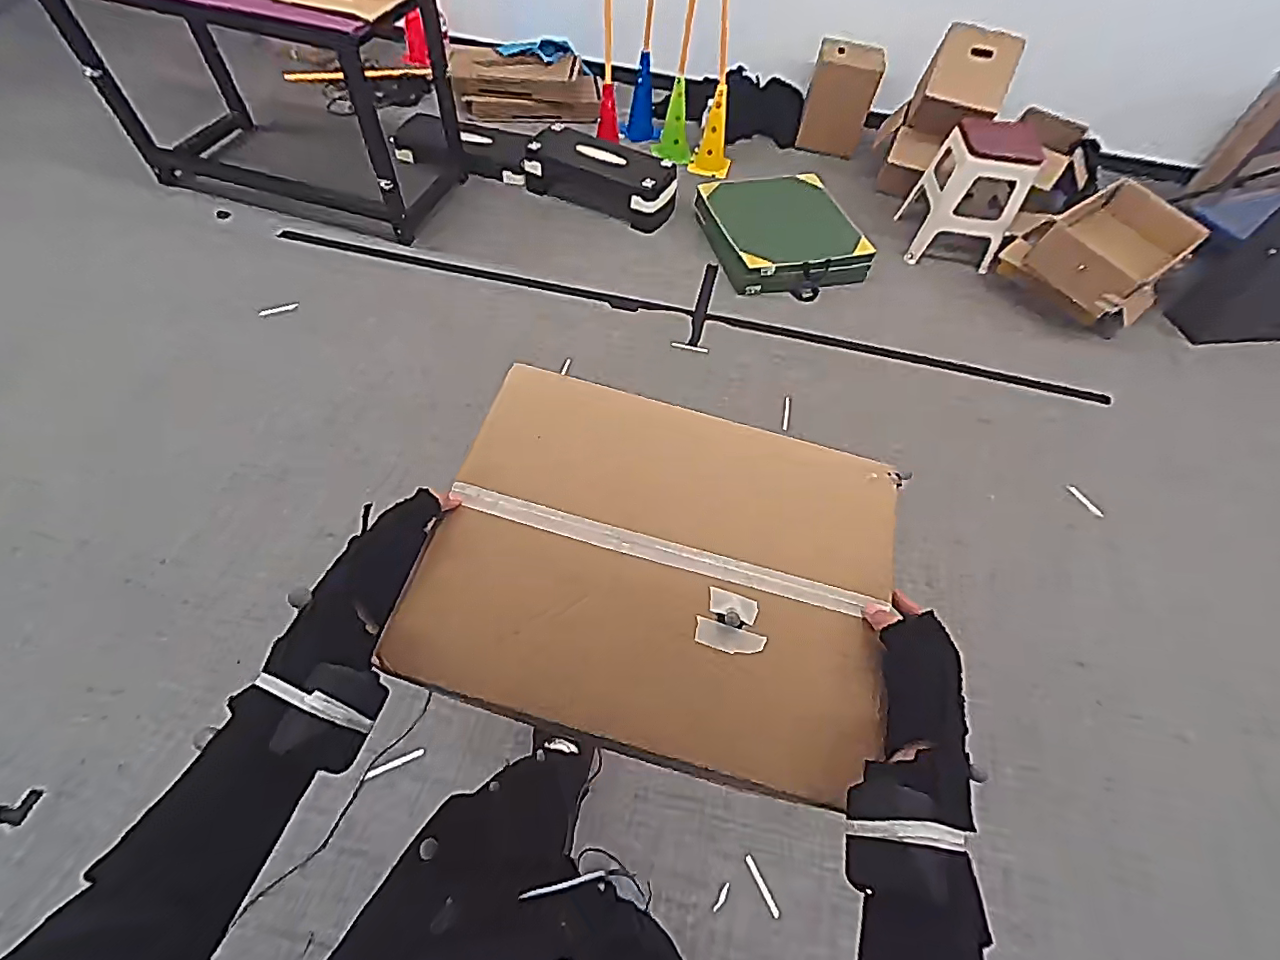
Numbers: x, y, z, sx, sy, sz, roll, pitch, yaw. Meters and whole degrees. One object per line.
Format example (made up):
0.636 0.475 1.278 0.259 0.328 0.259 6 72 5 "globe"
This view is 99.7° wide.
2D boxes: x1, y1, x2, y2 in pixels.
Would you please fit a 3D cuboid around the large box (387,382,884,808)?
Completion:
0.007 0.142 0.622 0.408 0.320 0.320 16 63 1 "large box"
